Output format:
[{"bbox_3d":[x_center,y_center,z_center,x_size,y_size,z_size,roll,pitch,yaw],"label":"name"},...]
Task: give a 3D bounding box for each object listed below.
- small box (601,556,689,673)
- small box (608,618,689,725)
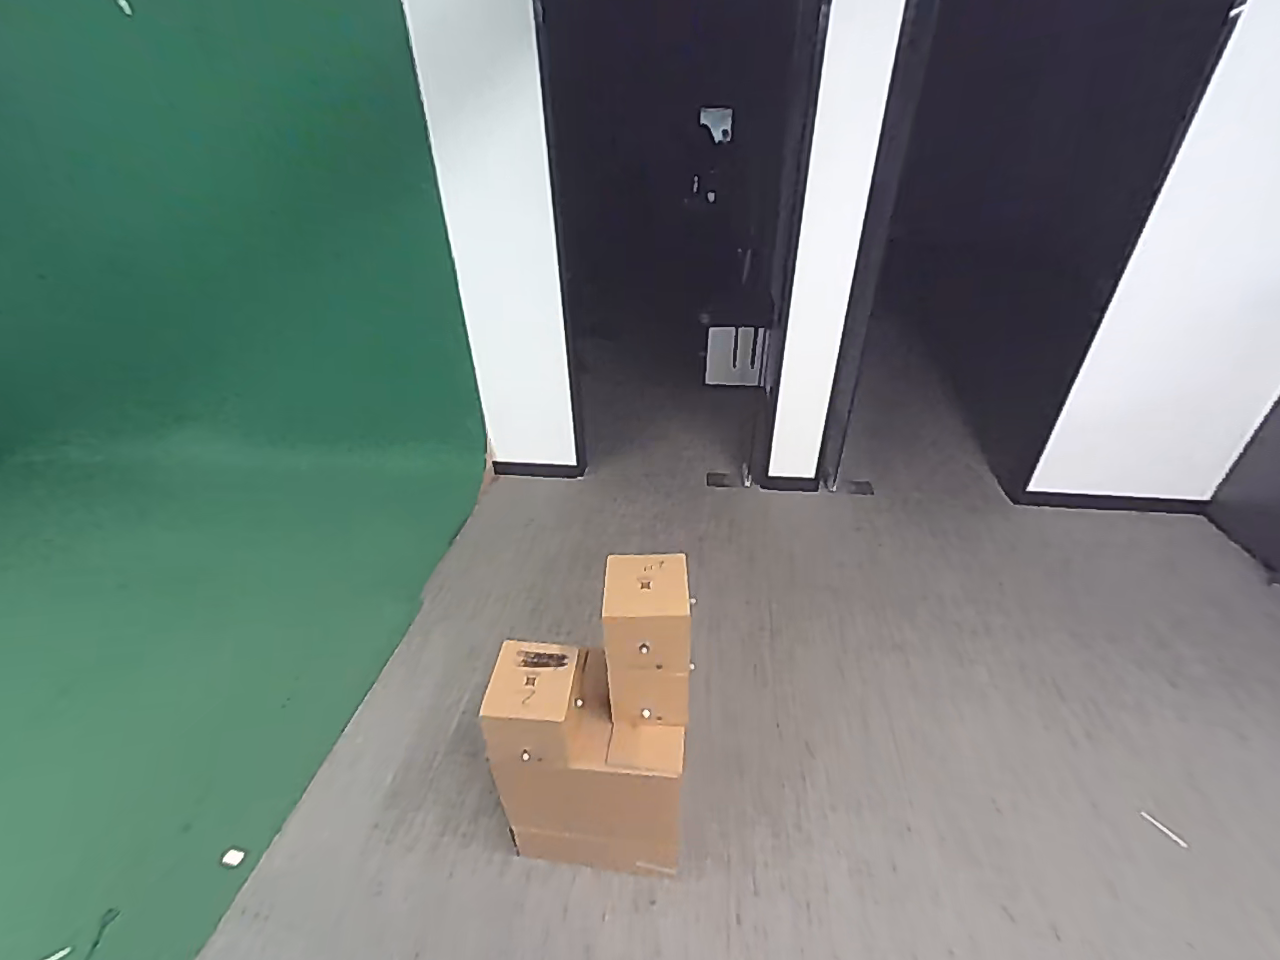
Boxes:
[{"bbox_3d":[0.016,0.278,1.114,0.168,0.176,0.179,-1,33,3],"label":"small box"},{"bbox_3d":[0.024,0.416,1.204,0.168,0.176,0.179,0,34,5],"label":"small box"}]
